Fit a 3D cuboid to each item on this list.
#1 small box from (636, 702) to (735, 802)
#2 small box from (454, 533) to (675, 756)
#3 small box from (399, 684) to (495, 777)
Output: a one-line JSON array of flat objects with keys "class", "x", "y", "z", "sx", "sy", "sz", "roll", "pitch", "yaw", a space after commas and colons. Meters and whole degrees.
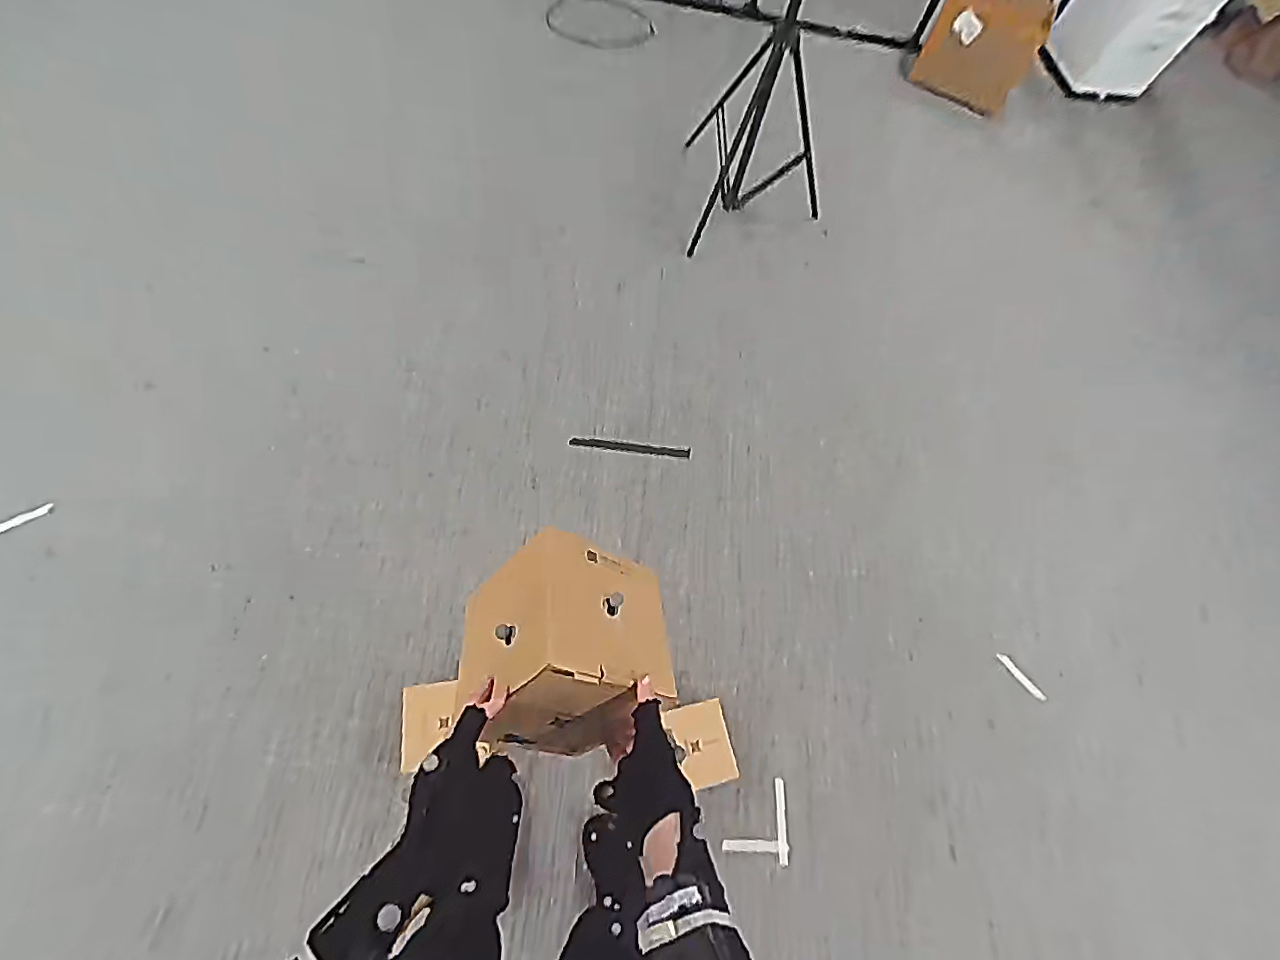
[{"class": "small box", "x": 0.094, "y": 0.618, "z": 1.237, "sx": 0.179, "sy": 0.176, "sz": 0.168, "roll": -9, "pitch": 67, "yaw": -13}, {"class": "small box", "x": -0.089, "y": 0.187, "z": 0.615, "sx": 0.168, "sy": 0.179, "sz": 0.176, "roll": 29, "pitch": 33, "yaw": -33}, {"class": "small box", "x": -0.418, "y": 0.548, "z": 1.198, "sx": 0.179, "sy": 0.176, "sz": 0.168, "roll": -5, "pitch": 66, "yaw": -9}]
